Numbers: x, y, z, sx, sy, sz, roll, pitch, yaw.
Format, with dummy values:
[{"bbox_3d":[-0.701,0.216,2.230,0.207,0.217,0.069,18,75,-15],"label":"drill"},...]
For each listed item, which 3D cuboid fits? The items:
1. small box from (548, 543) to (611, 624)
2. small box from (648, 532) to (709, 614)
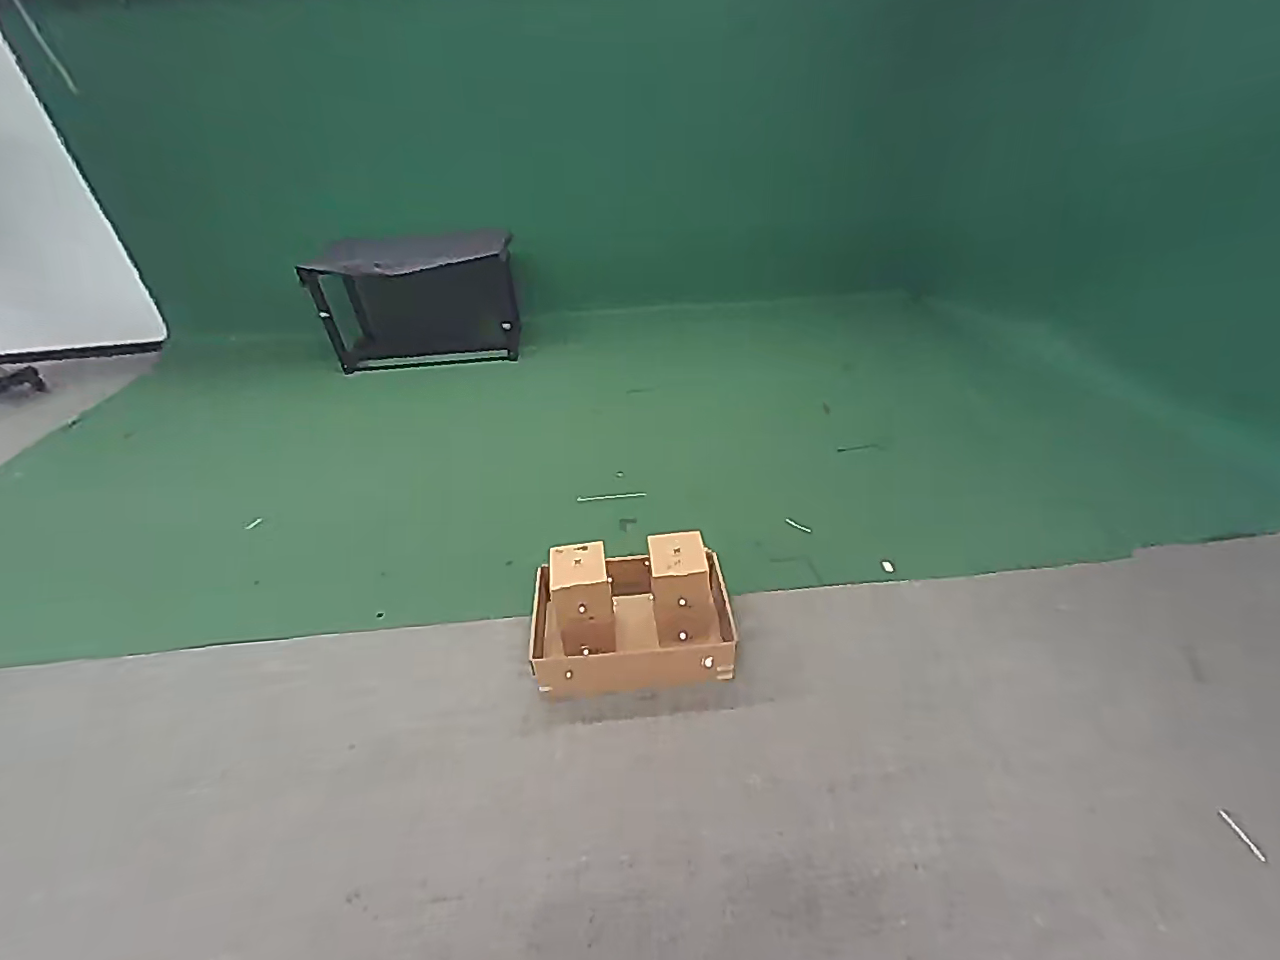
[{"bbox_3d":[-0.181,0.317,1.631,0.168,0.176,0.179,-6,38,-4],"label":"small box"},{"bbox_3d":[0.114,0.284,1.649,0.168,0.176,0.179,-6,38,-1],"label":"small box"}]
